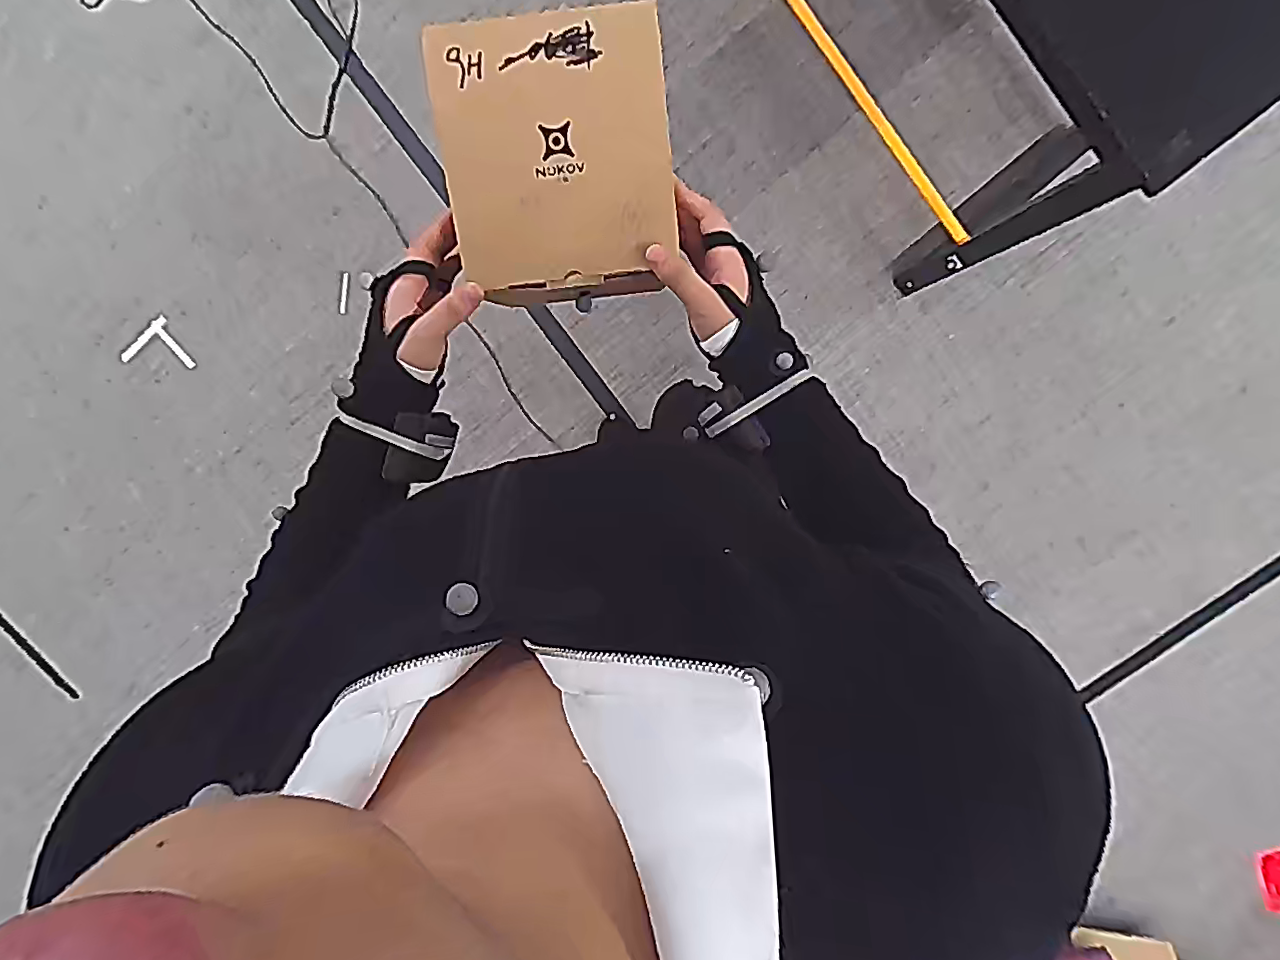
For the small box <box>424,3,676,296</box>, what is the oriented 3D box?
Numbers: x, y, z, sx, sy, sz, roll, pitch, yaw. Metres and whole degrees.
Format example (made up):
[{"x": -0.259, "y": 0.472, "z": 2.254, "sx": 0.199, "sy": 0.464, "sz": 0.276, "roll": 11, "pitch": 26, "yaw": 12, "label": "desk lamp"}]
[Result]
[{"x": -0.062, "y": -0.260, "z": 0.473, "sx": 0.168, "sy": 0.176, "sz": 0.179, "roll": -7, "pitch": 106, "yaw": 0, "label": "small box"}]
